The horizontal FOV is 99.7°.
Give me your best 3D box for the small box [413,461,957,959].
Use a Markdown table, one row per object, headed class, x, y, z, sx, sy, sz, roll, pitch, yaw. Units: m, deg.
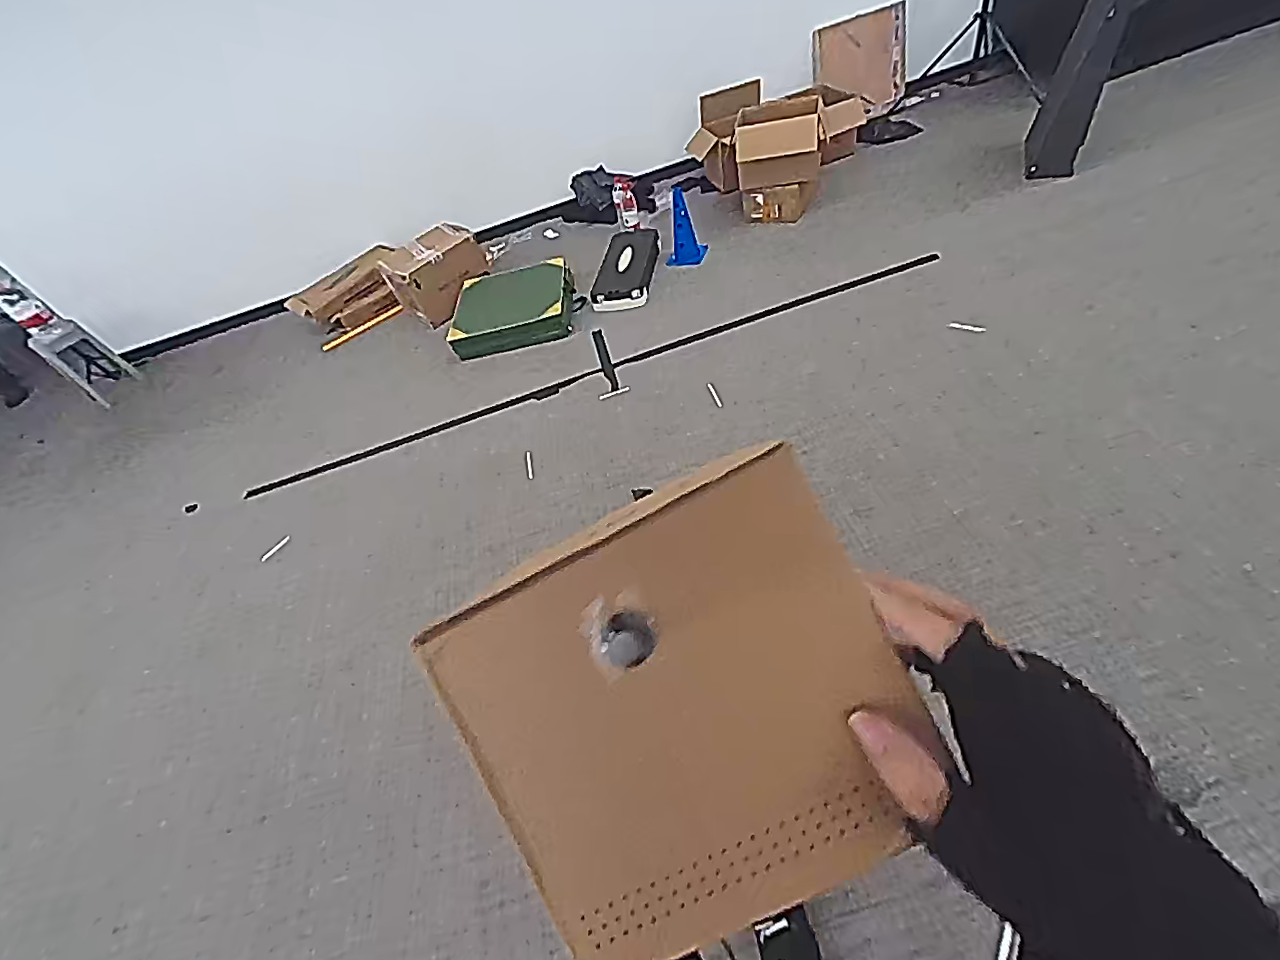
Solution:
| class | x | y | z | sx | sy | sz | roll | pitch | yaw |
| --- | --- | --- | --- | --- | --- | --- | --- | --- | --- |
| small box | 0.024 | 0.103 | 0.297 | 0.179 | 0.168 | 0.176 | -29 | 90 | 6 |
